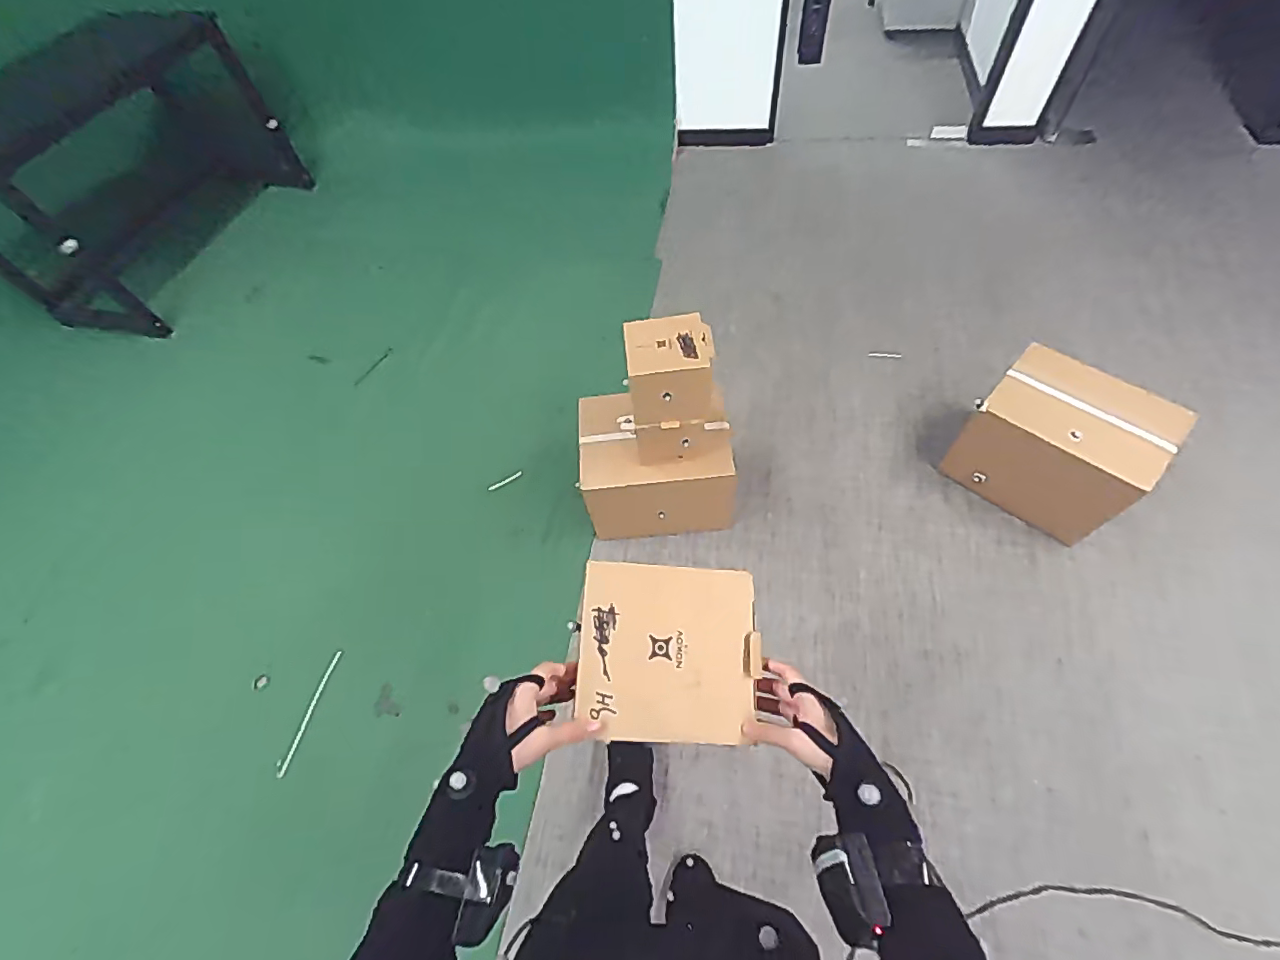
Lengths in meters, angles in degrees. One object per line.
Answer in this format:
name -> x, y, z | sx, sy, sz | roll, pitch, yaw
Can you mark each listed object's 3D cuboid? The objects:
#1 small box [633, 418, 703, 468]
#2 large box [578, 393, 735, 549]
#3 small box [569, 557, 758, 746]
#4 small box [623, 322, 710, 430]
small box -> 0.070, -0.142, 1.368 | 0.168, 0.176, 0.179 | -5, 57, 2
large box -> 0.049, -0.016, 1.581 | 0.408, 0.320, 0.320 | -7, 56, 3
small box -> 0.019, 0.189, 0.596 | 0.179, 0.176, 0.168 | 6, 68, -6
small box -> 0.059, -0.233, 1.232 | 0.179, 0.176, 0.168 | -7, 57, 2
